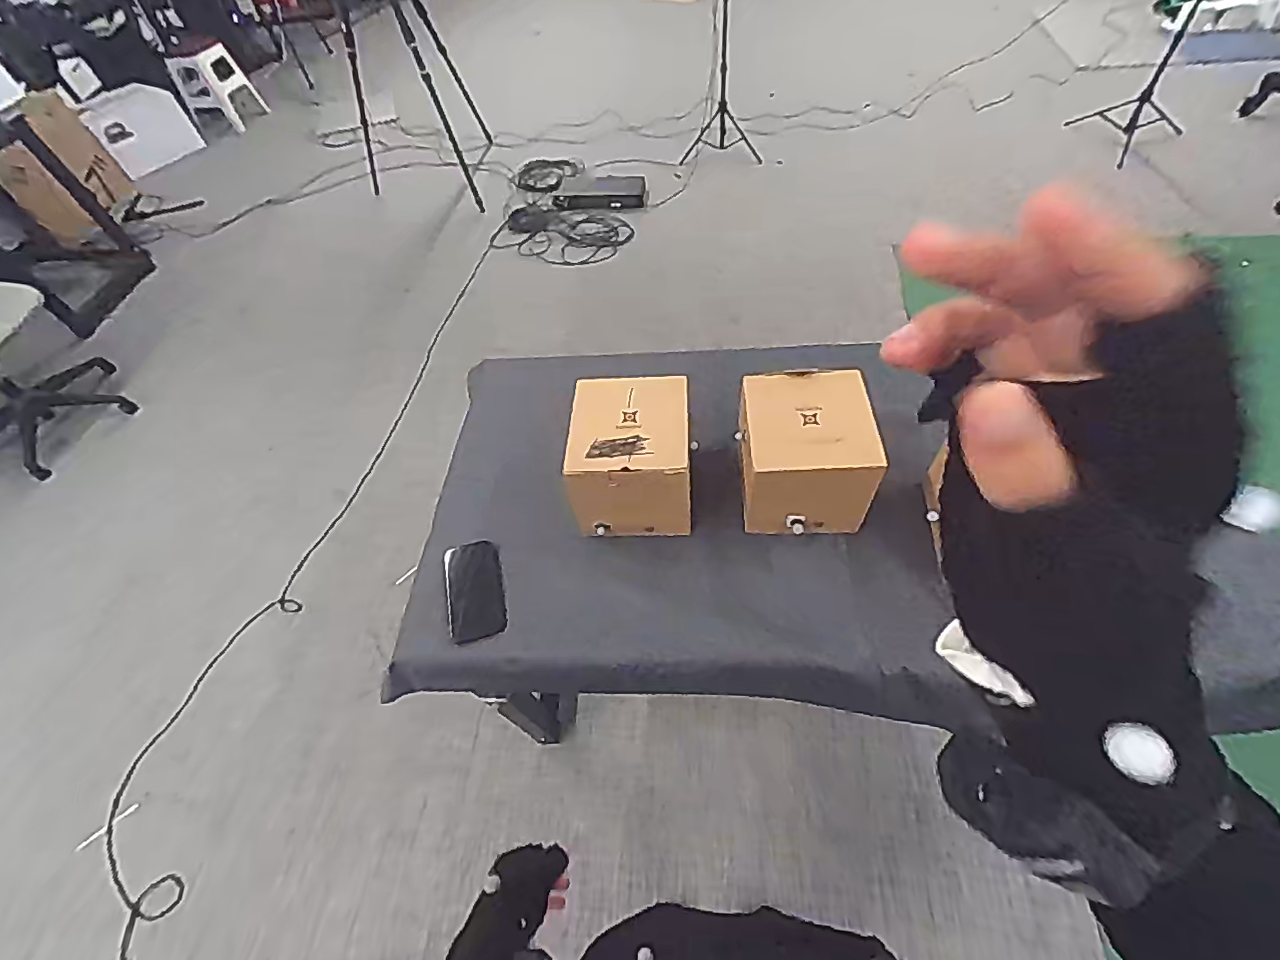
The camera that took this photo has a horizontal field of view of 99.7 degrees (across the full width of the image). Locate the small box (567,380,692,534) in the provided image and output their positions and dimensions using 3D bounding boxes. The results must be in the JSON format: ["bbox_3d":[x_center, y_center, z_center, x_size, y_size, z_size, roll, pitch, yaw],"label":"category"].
[{"bbox_3d":[-0.005,-0.029,0.819,0.168,0.176,0.179,-1,53,6],"label":"small box"}]

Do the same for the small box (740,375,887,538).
[{"bbox_3d":[0.240,-0.031,0.799,0.168,0.176,0.179,-3,55,6],"label":"small box"}]

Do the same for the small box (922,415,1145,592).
[{"bbox_3d":[0.499,0.035,0.720,0.168,0.176,0.179,3,55,9],"label":"small box"}]
